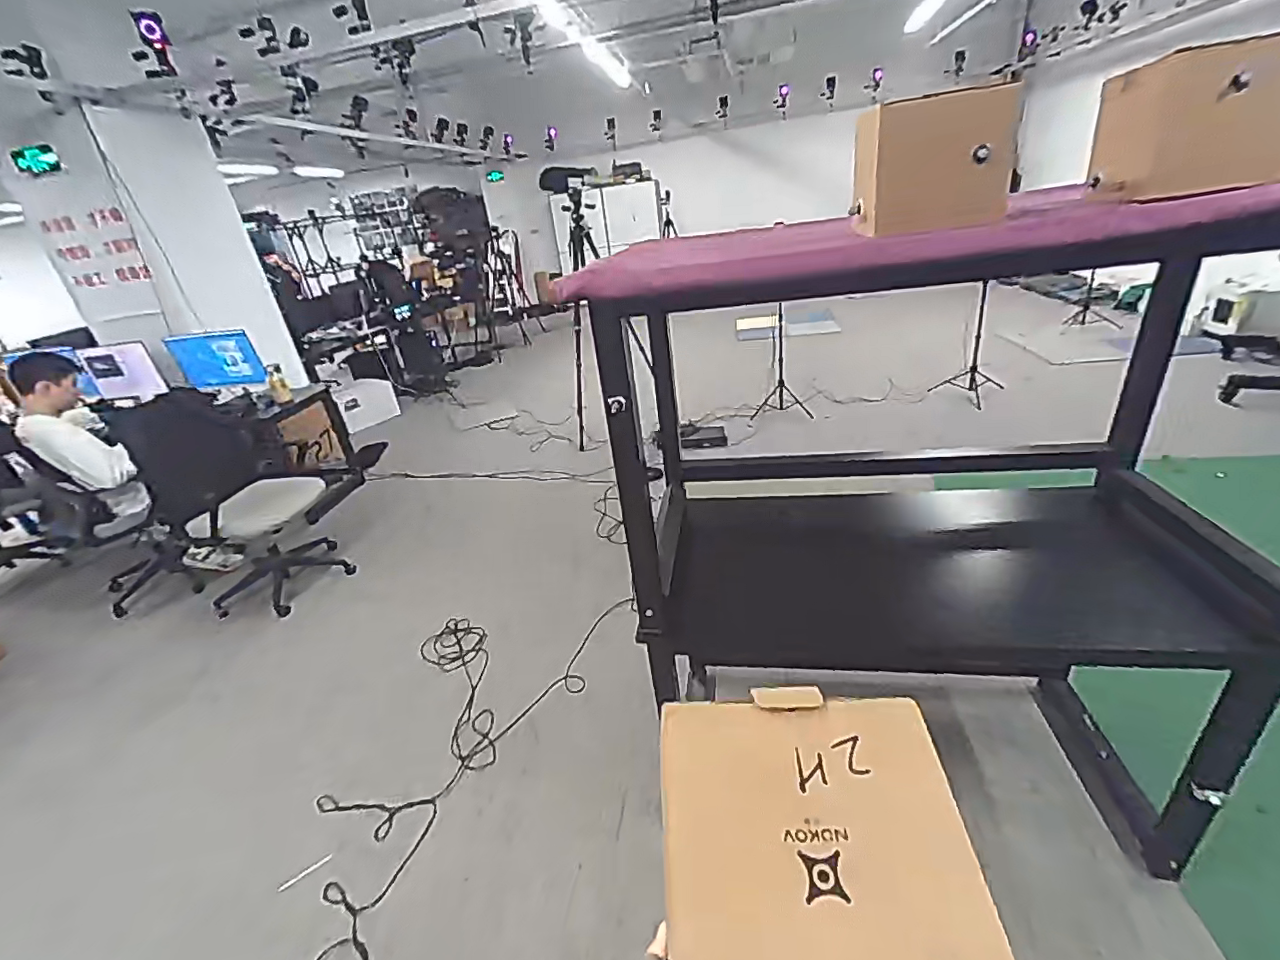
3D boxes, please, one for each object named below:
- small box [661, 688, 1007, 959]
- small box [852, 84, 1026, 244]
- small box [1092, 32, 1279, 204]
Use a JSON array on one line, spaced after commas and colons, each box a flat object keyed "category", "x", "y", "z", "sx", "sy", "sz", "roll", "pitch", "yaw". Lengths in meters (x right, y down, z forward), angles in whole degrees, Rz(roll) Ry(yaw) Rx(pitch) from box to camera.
[{"category": "small box", "x": 0.099, "y": 0.257, "z": 0.352, "sx": 0.168, "sy": 0.176, "sz": 0.179, "roll": -1, "pitch": 44, "yaw": 0}, {"category": "small box", "x": 0.421, "y": -0.455, "z": 0.796, "sx": 0.179, "sy": 0.176, "sz": 0.168, "roll": -4, "pitch": 27, "yaw": 11}, {"category": "small box", "x": 0.765, "y": -0.482, "z": 0.743, "sx": 0.179, "sy": 0.176, "sz": 0.168, "roll": -2, "pitch": 25, "yaw": 13}]
